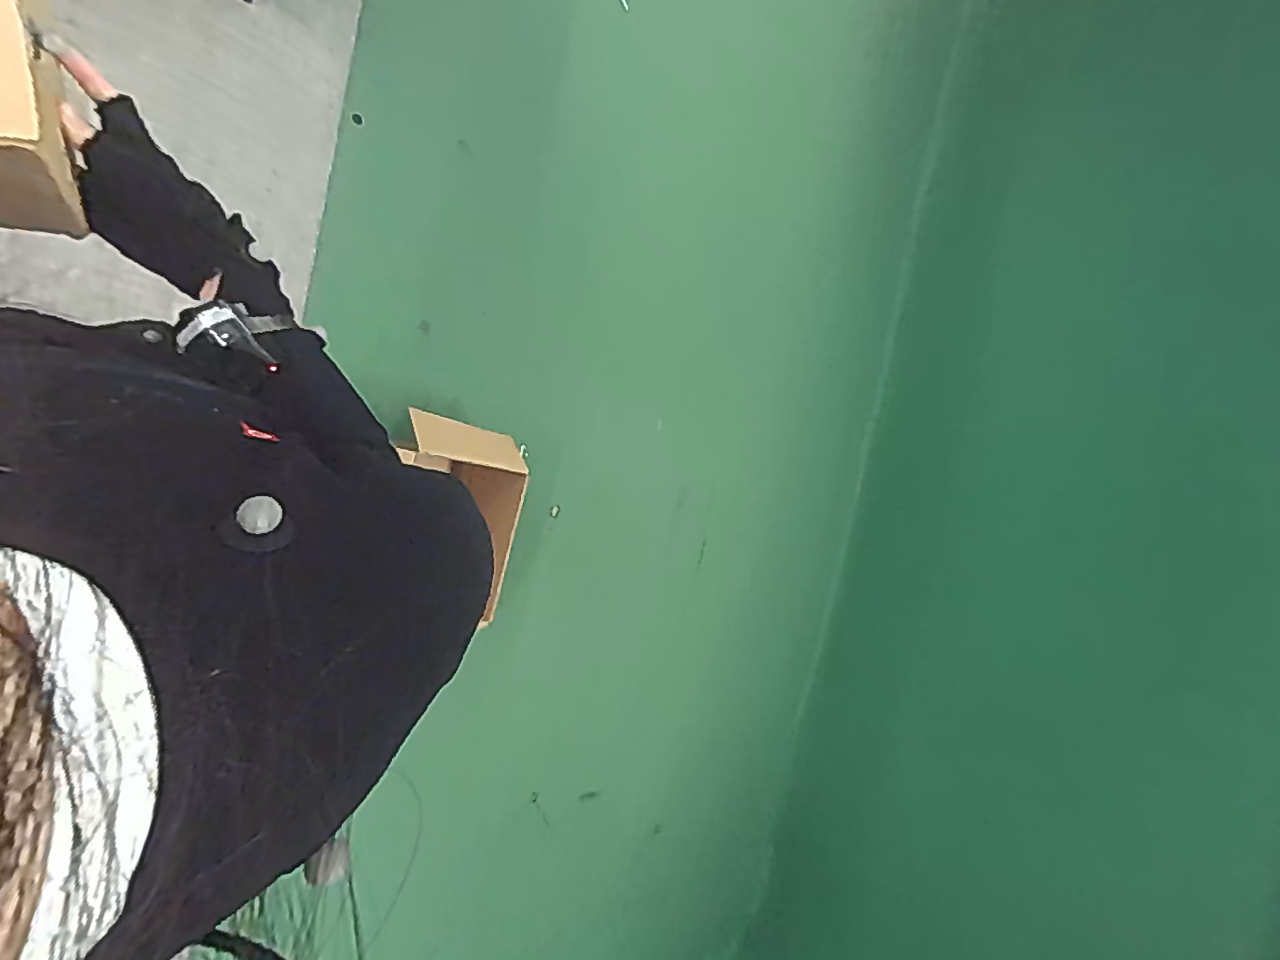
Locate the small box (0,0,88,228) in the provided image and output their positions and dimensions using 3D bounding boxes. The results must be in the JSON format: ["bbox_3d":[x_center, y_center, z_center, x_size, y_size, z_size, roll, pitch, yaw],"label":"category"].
[{"bbox_3d":[-0.427,-0.254,0.285,0.168,0.176,0.179,-9,100,-40],"label":"small box"}]
